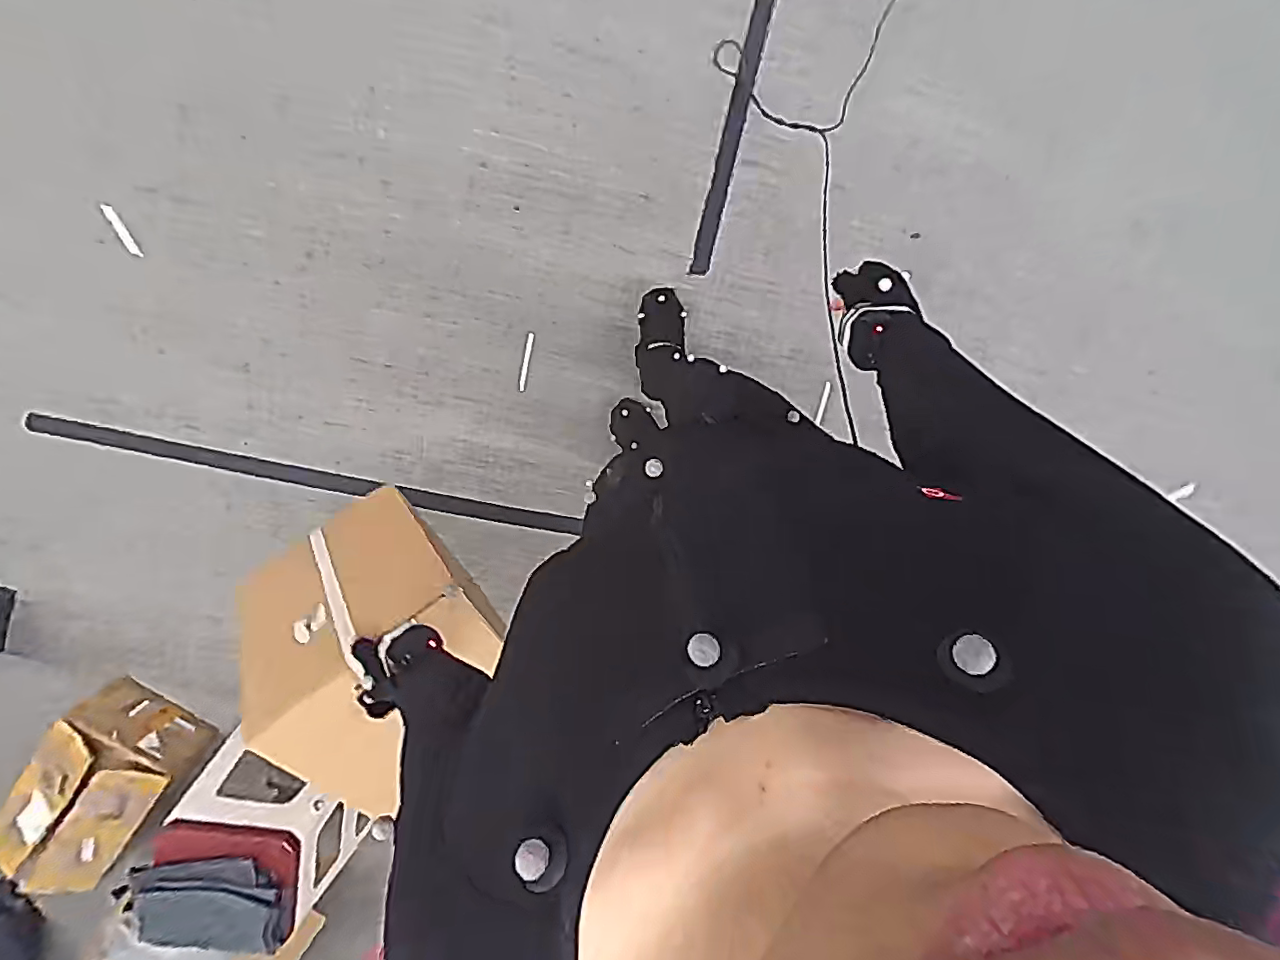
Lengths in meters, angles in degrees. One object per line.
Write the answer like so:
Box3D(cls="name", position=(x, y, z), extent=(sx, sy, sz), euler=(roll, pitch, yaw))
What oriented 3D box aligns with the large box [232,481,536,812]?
Box3D(cls="large box", position=(-0.449, 0.266, 0.956), extent=(0.320, 0.408, 0.320), euler=(-37, 131, -18))
